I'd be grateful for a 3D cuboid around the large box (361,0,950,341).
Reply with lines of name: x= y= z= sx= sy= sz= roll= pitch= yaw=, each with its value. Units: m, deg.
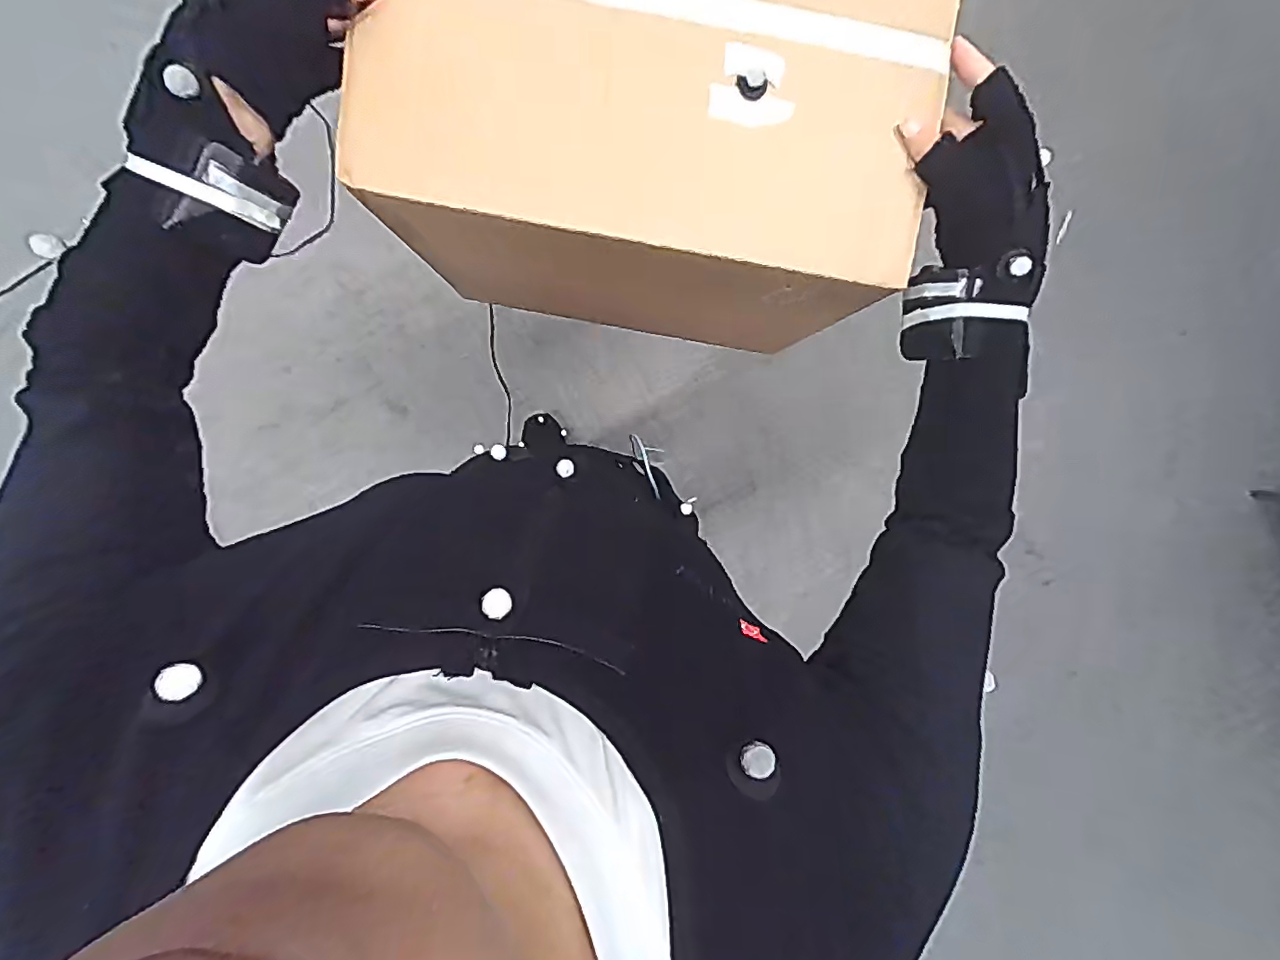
large box: x=0.010 y=-0.342 z=0.527 sx=0.408 sy=0.320 sz=0.320 roll=9 pitch=95 yaw=-4
